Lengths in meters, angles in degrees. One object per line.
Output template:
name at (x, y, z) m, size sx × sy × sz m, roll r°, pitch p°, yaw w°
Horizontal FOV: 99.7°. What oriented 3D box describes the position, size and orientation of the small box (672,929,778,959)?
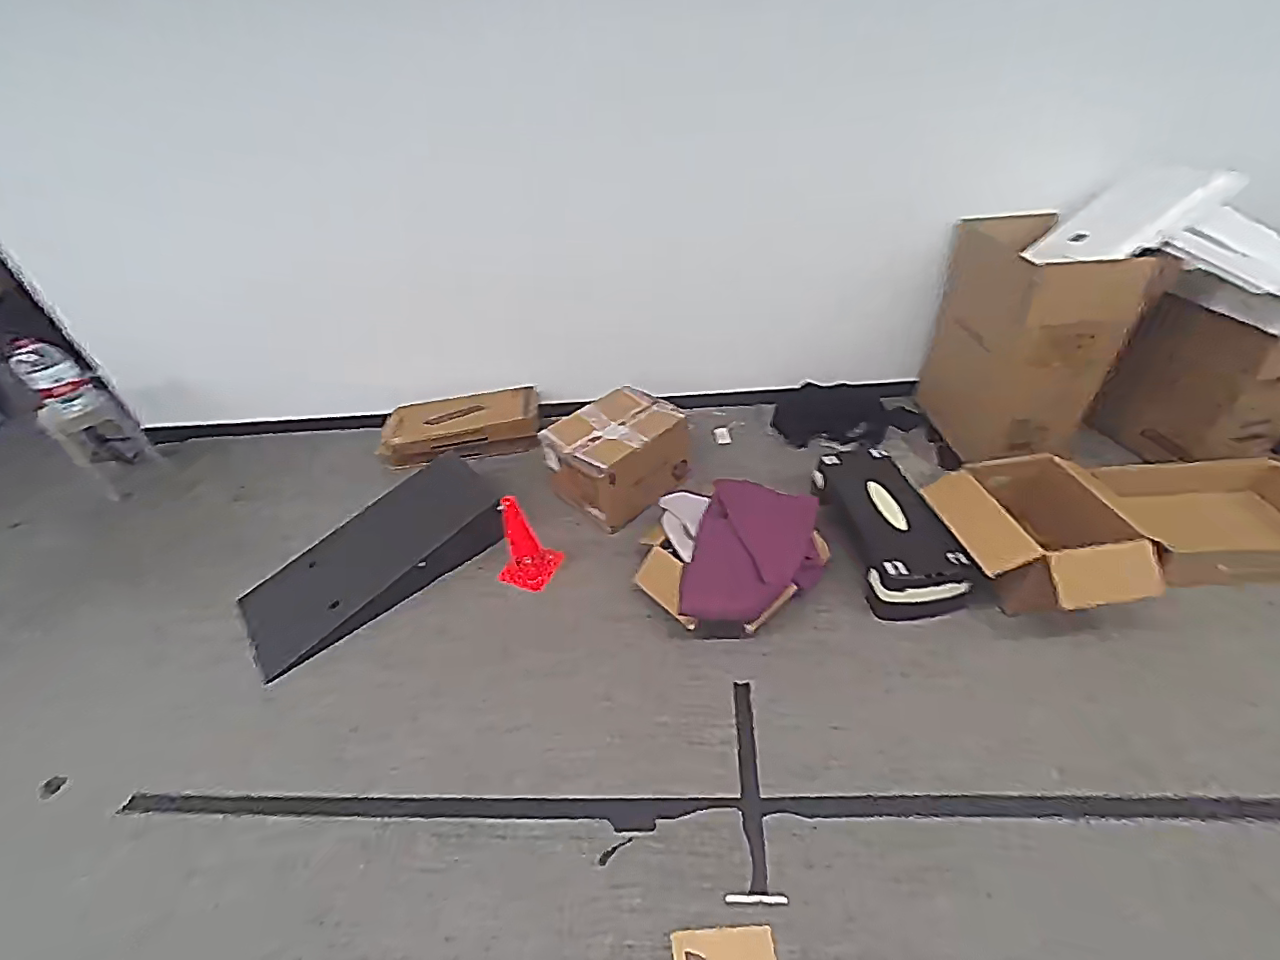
small box at (0.153, 0.894, 0.921) m, size 0.179 × 0.176 × 0.168 m, roll -6°, pitch 39°, yaw 3°
